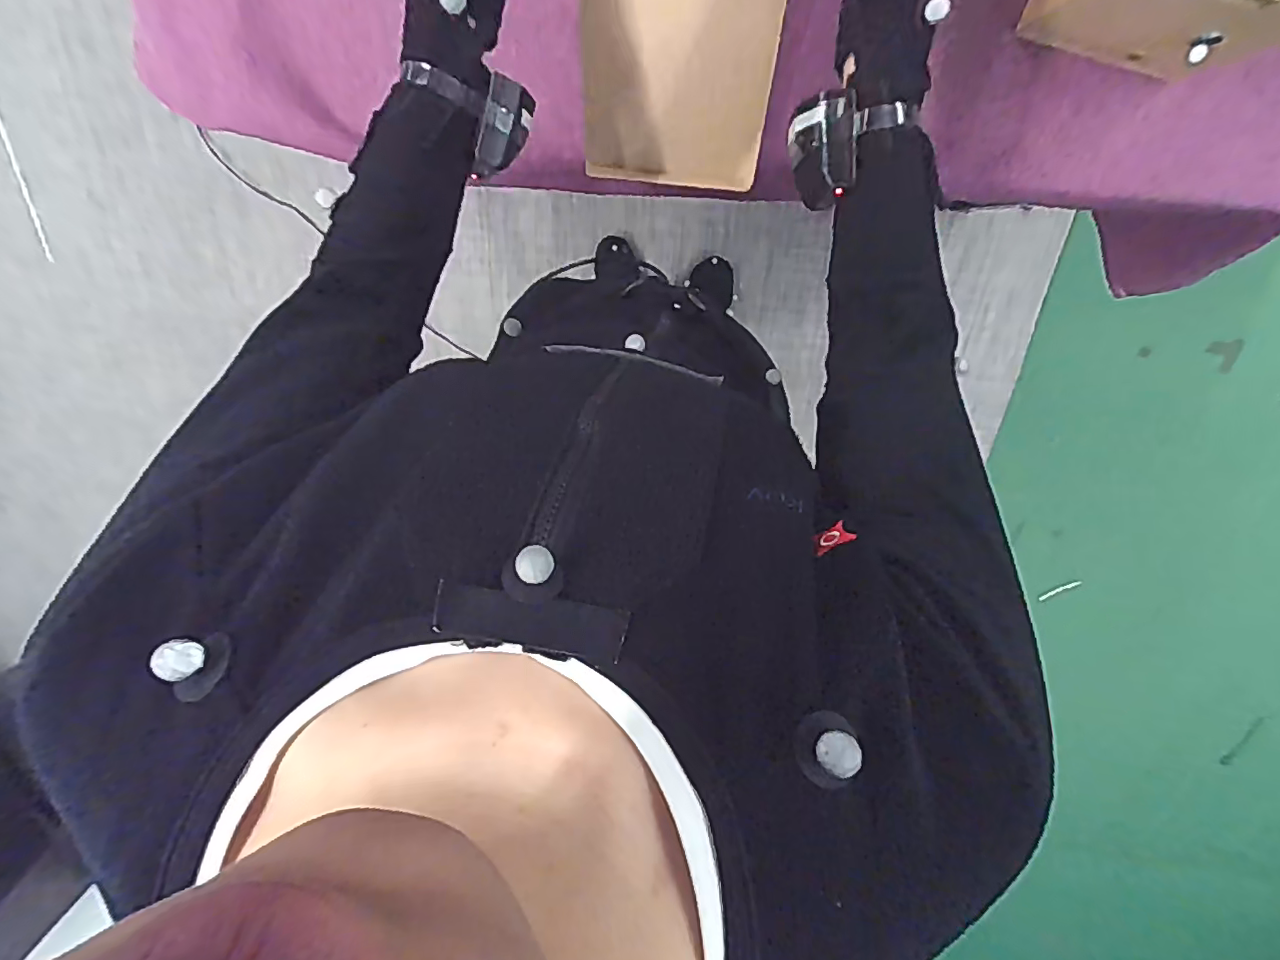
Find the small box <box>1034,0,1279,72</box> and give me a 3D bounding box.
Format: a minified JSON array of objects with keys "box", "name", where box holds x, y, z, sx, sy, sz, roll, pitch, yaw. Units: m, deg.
[{"box":[0.451,-0.448,0.410,0.168,0.176,0.179,15,115,-2],"name":"small box"}]
